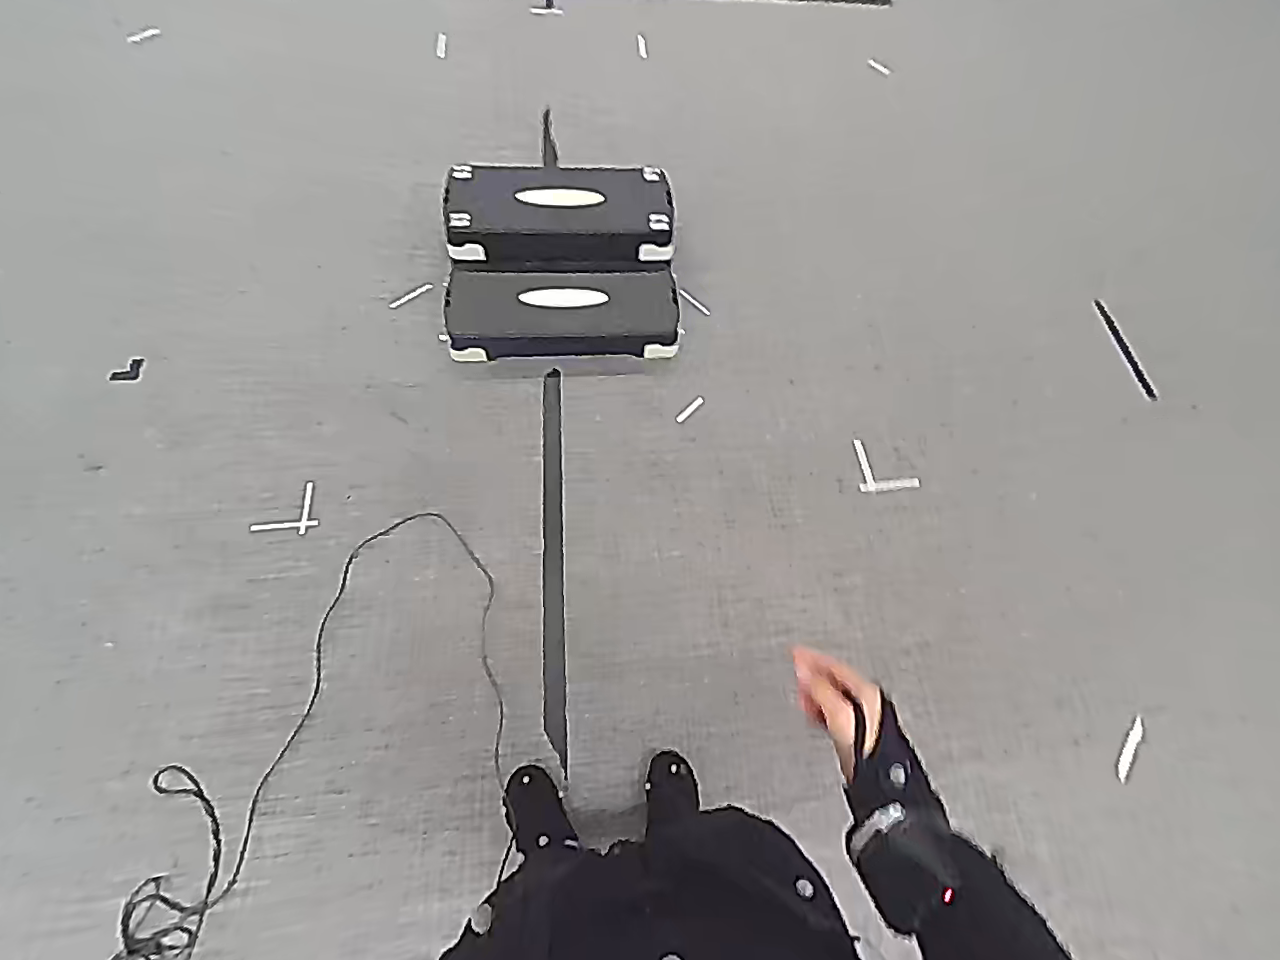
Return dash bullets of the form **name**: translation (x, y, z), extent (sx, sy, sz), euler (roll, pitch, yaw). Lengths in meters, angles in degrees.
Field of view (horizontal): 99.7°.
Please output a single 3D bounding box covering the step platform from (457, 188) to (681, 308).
- **step platform**: translation (-0.214, -0.725, 1.690), extent (0.684, 0.204, 0.286), euler (2, 64, -5)
